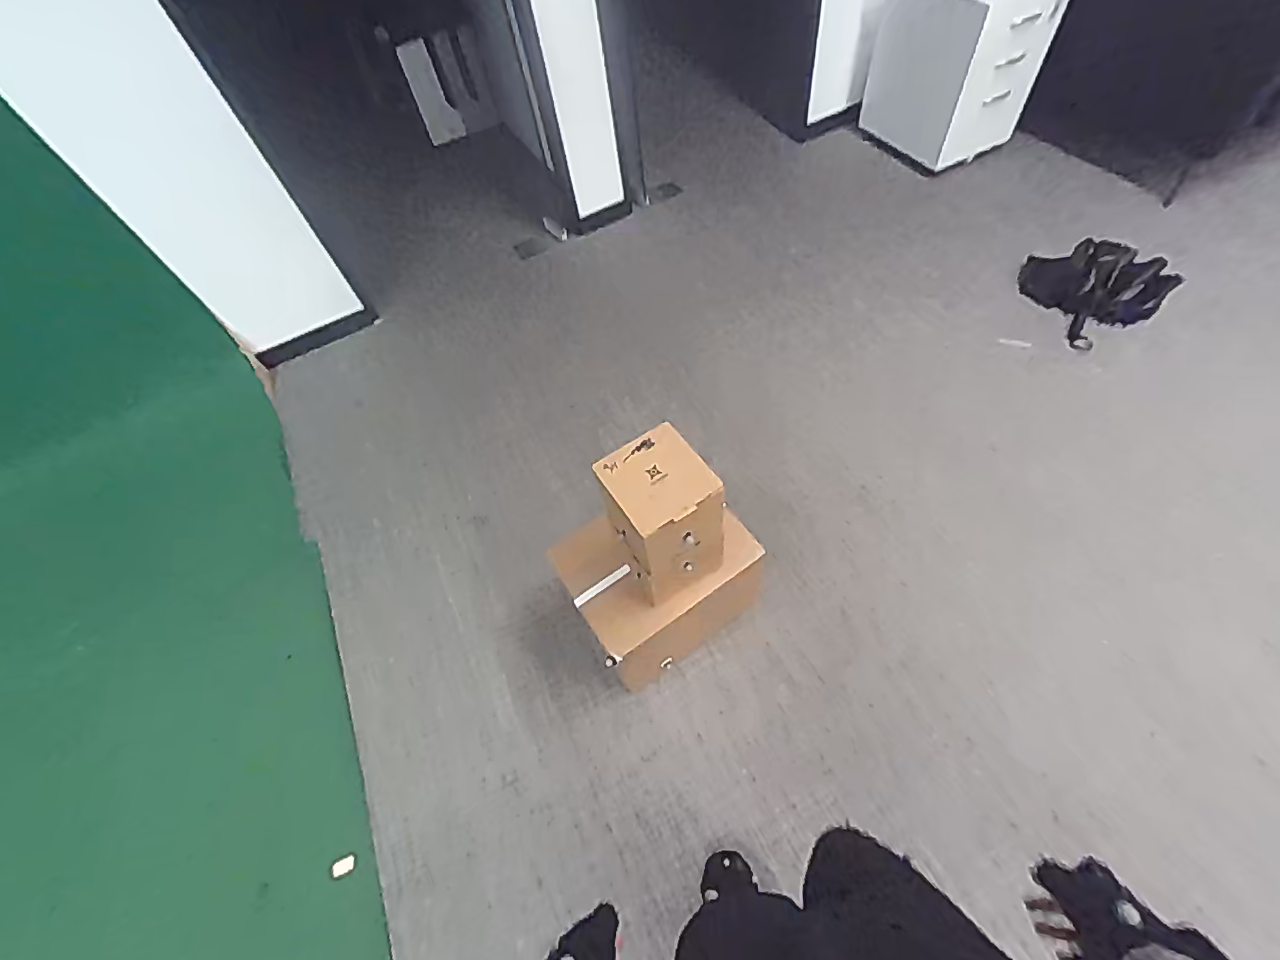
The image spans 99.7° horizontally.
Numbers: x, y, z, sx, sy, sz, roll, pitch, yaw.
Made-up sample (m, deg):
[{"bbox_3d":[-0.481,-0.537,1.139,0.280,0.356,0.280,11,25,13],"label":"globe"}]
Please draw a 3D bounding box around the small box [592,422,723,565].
[{"bbox_3d":[0.036,0.035,0.990,0.168,0.176,0.179,-31,61,-11],"label":"small box"}]

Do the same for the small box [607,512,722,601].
[{"bbox_3d":[0.055,0.124,1.125,0.179,0.176,0.168,-30,60,-12],"label":"small box"}]
